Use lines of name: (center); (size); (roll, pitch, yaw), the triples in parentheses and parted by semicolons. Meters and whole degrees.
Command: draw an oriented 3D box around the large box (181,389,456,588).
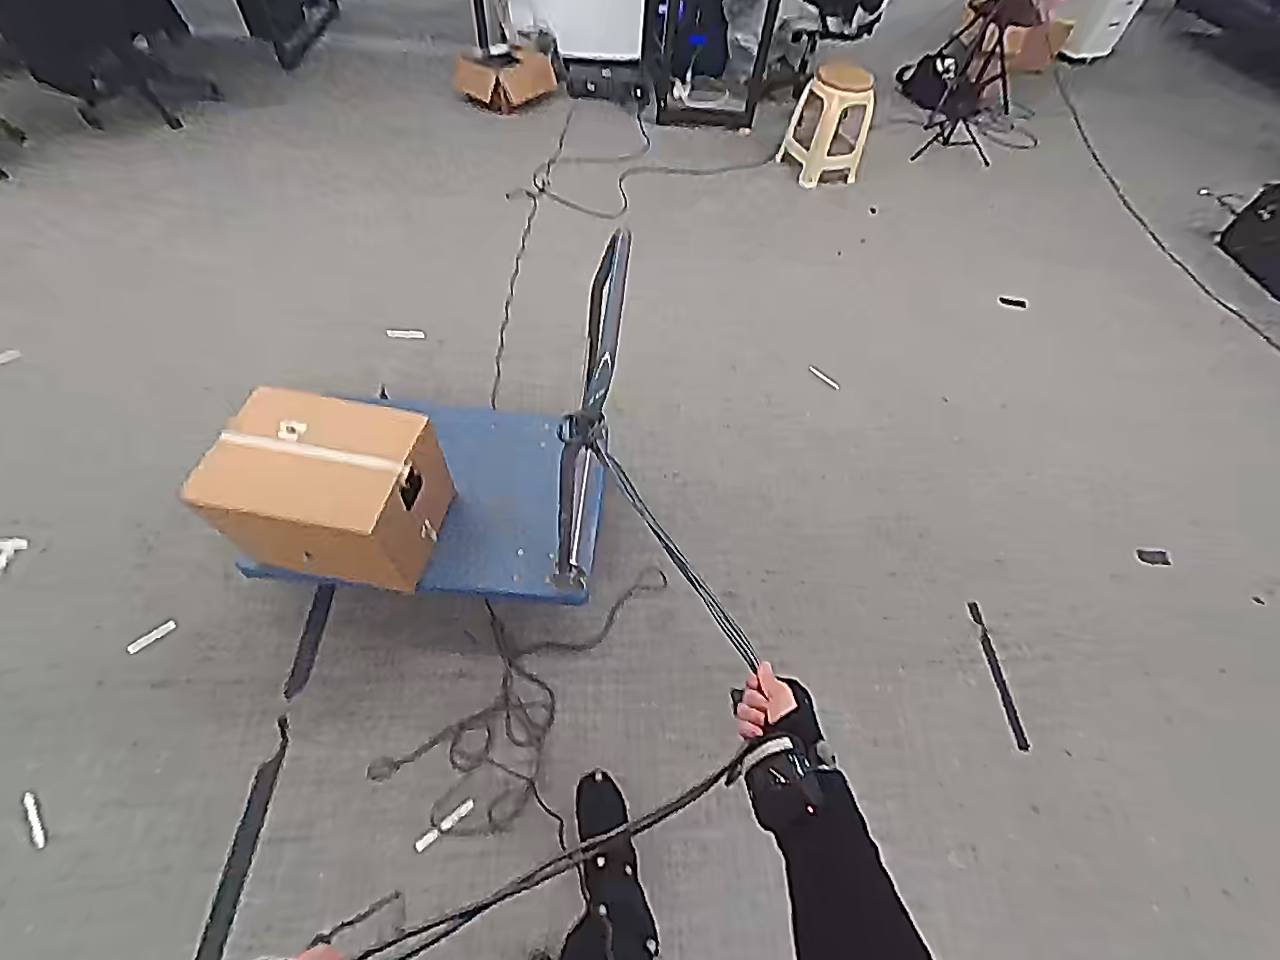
large box: (-0.700, 0.030, 1.268); (0.408, 0.320, 0.320); (10, 55, 2)
